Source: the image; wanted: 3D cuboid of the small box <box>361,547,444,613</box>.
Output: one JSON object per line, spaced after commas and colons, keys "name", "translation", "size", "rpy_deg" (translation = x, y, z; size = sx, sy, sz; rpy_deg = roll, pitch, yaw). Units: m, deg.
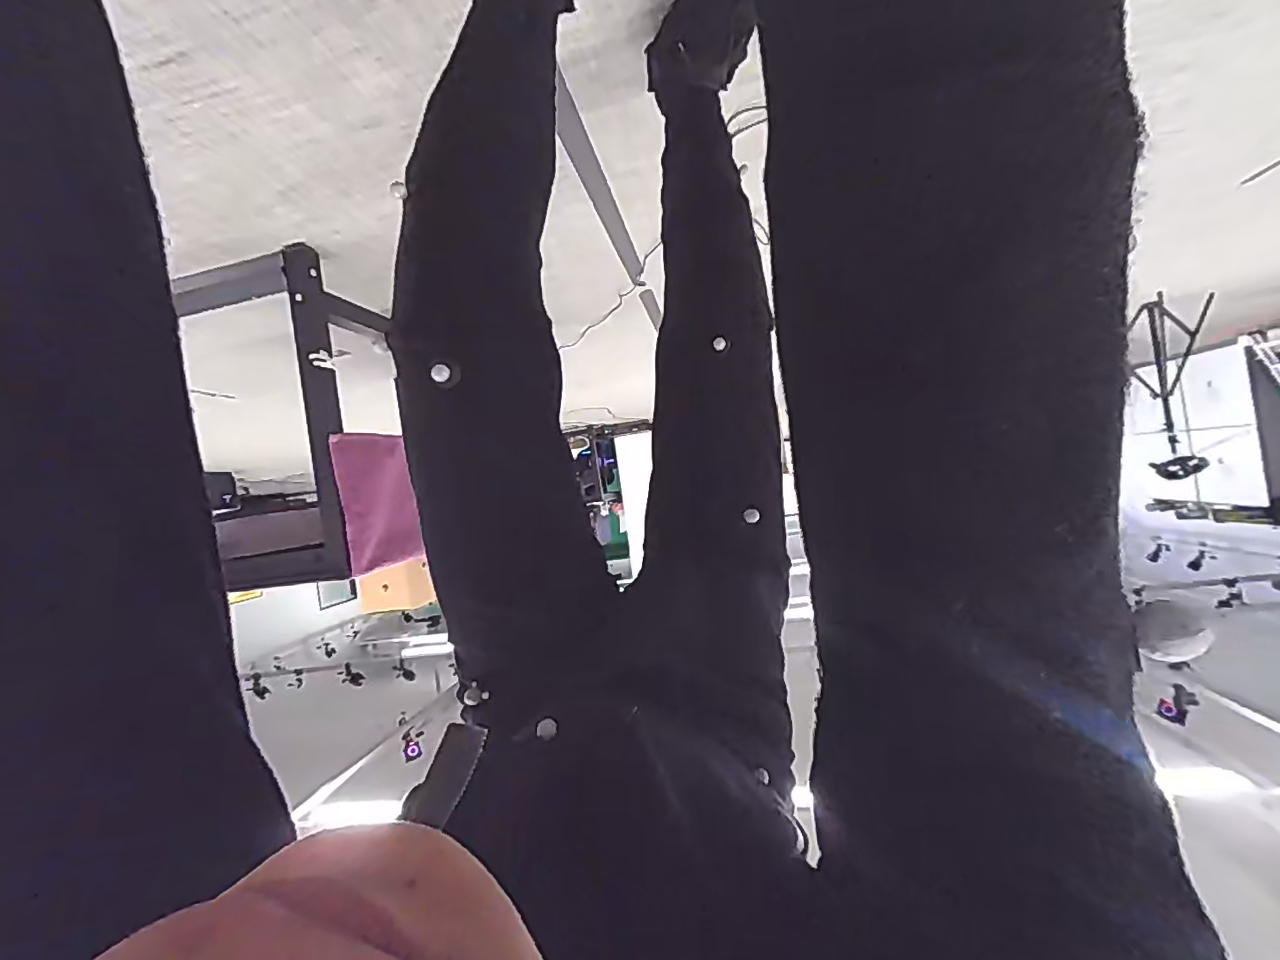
{"name": "small box", "translation": [-0.748, 0.308, 1.696], "size": [0.179, 0.176, 0.168], "rpy_deg": [-10, 180, 15]}
